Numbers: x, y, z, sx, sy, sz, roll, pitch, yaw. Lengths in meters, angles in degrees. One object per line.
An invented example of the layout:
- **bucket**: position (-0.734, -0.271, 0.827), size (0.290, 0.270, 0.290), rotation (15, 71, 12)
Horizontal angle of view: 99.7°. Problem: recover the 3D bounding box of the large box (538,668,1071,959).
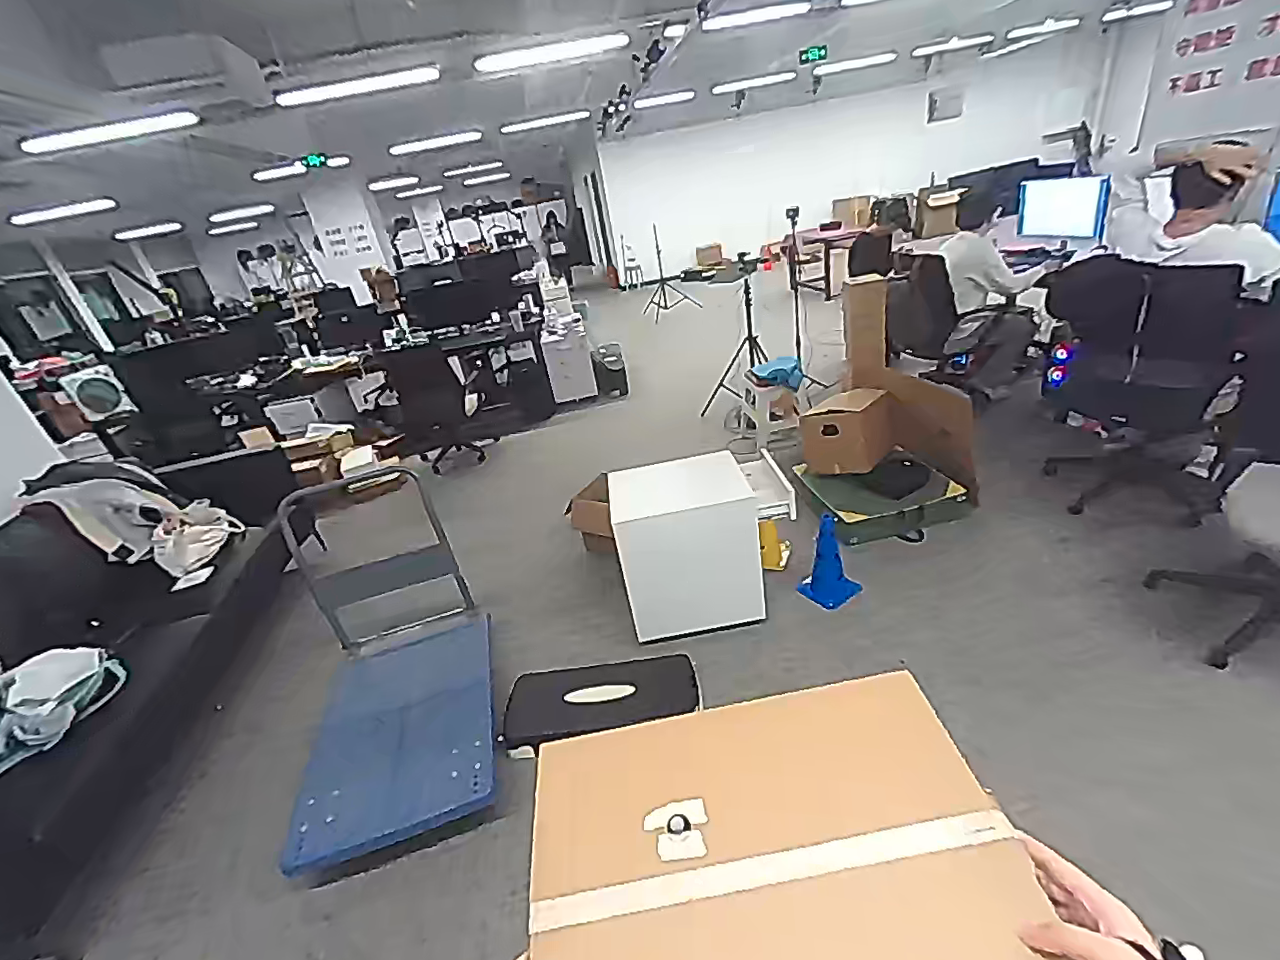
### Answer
- **large box**: position (0.138, 0.452, 0.553), size (0.408, 0.320, 0.320), rotation (-14, 34, 2)
